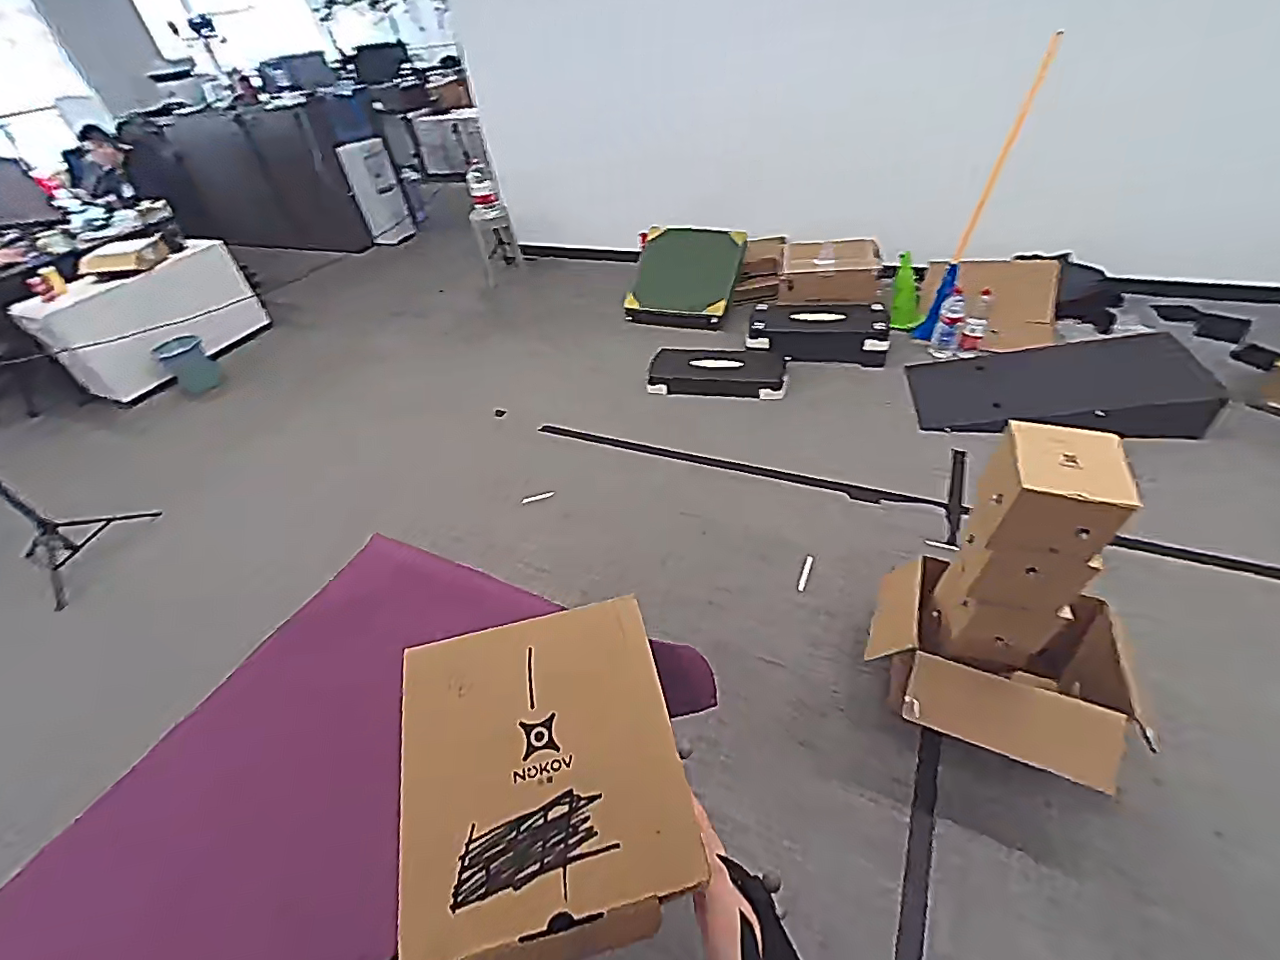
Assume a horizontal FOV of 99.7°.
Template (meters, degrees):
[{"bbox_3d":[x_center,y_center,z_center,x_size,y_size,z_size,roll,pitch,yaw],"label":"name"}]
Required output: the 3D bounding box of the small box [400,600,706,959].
[{"bbox_3d":[-0.057,0.216,0.392,0.168,0.176,0.179,-11,53,-7],"label":"small box"}]

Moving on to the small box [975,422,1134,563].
[{"bbox_3d":[0.725,0.024,0.970,0.168,0.176,0.179,11,49,15],"label":"small box"}]

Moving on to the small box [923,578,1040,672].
[{"bbox_3d":[0.818,0.356,1.324,0.179,0.176,0.168,0,46,5],"label":"small box"}]

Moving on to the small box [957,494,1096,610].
[{"bbox_3d":[0.755,0.139,1.083,0.179,0.176,0.168,10,50,15],"label":"small box"}]
